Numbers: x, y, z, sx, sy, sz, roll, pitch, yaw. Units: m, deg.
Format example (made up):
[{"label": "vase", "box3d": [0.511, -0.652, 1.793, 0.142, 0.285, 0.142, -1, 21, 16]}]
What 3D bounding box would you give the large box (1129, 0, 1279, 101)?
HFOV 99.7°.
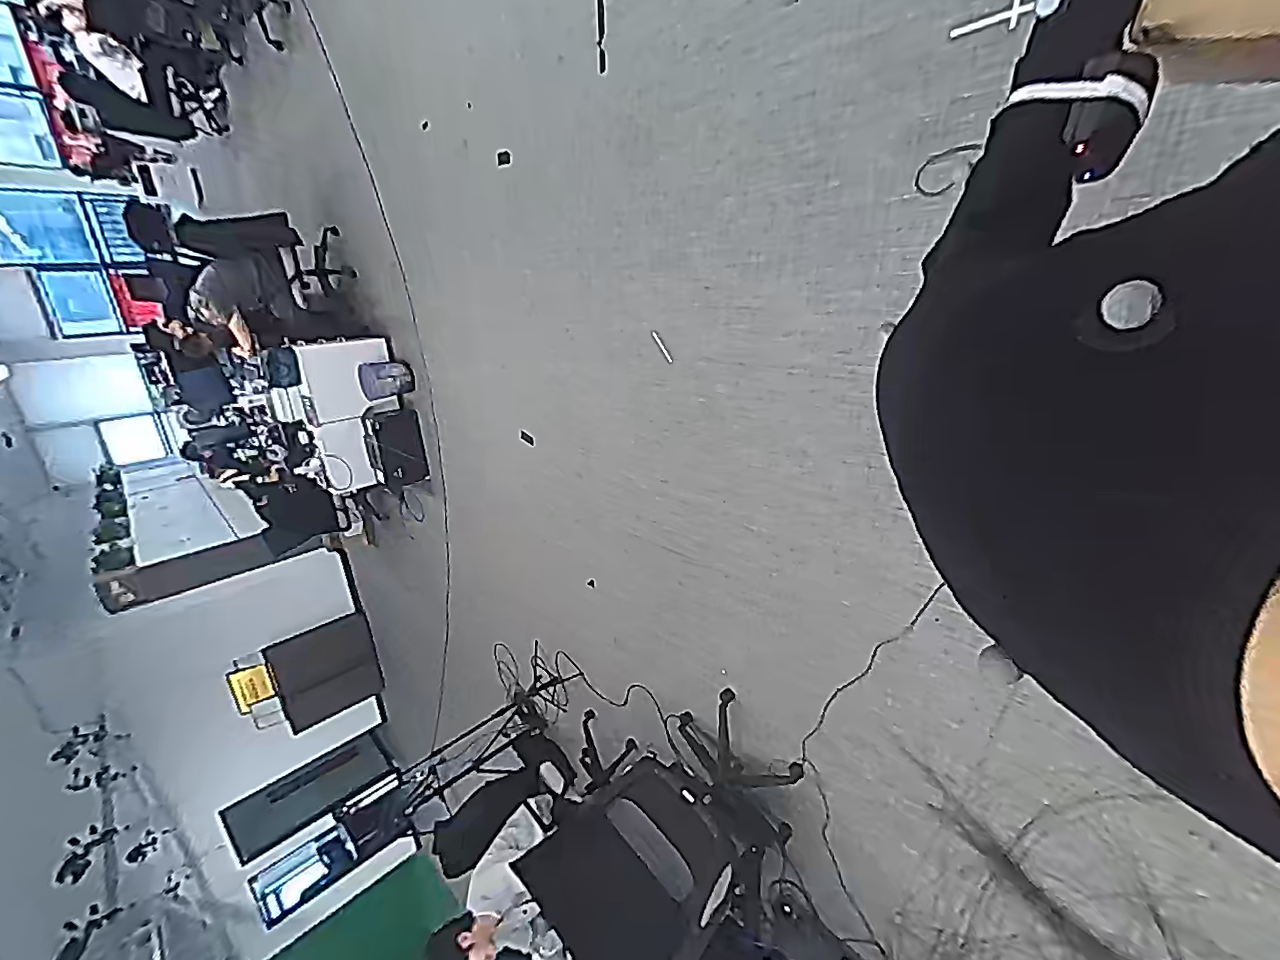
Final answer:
[{"label": "large box", "box3d": [0.601, -0.425, 0.301, 0.408, 0.320, 0.320, 26, 129, 36]}]
